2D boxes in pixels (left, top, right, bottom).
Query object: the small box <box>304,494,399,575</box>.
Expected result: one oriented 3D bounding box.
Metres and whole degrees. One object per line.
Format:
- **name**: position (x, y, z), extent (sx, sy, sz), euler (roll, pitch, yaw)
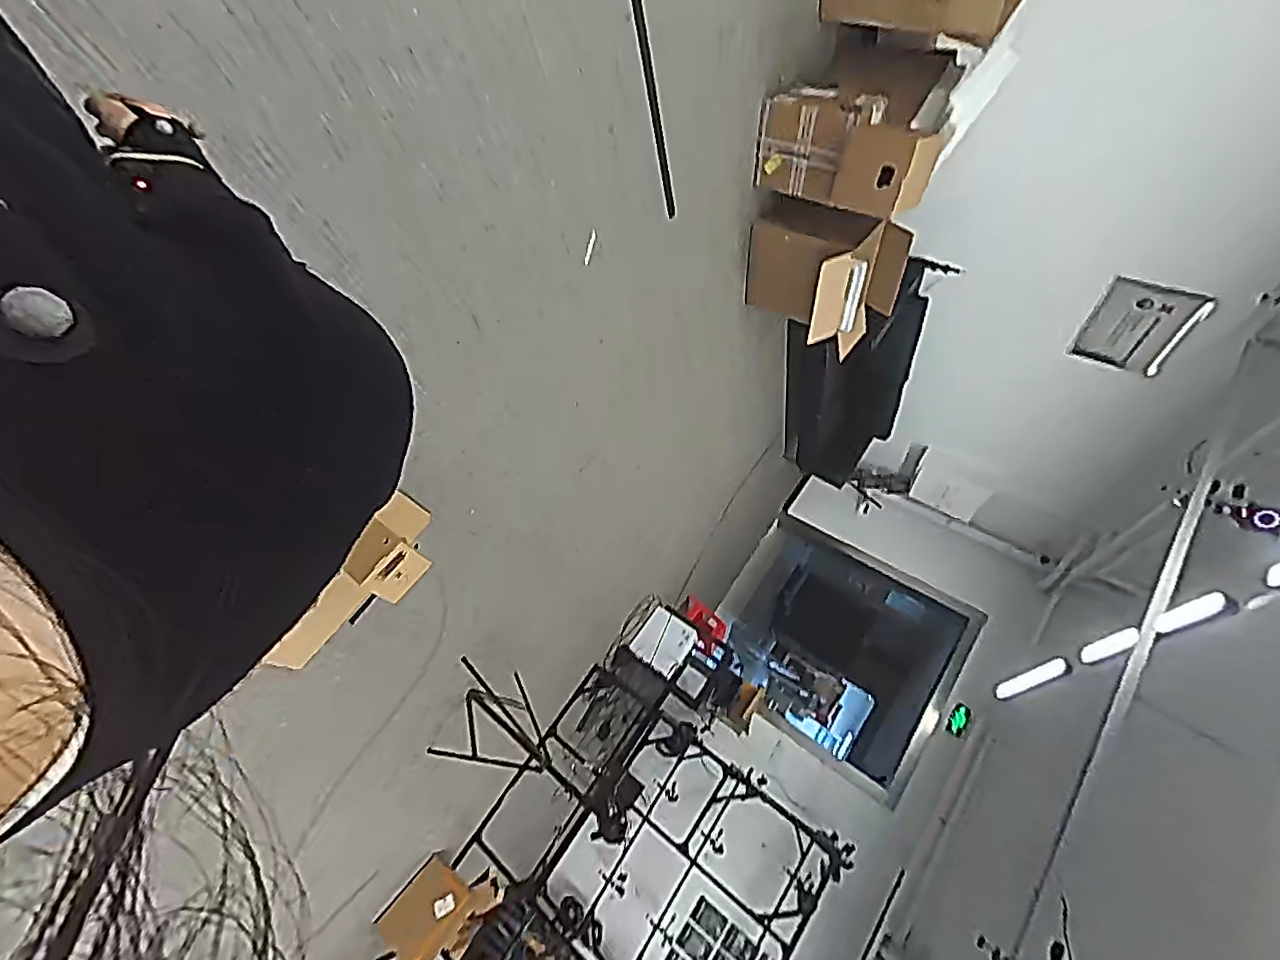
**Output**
- **small box**: position (-0.924, 0.168, 1.731), extent (0.168, 0.176, 0.179), euler (-50, 152, -18)
